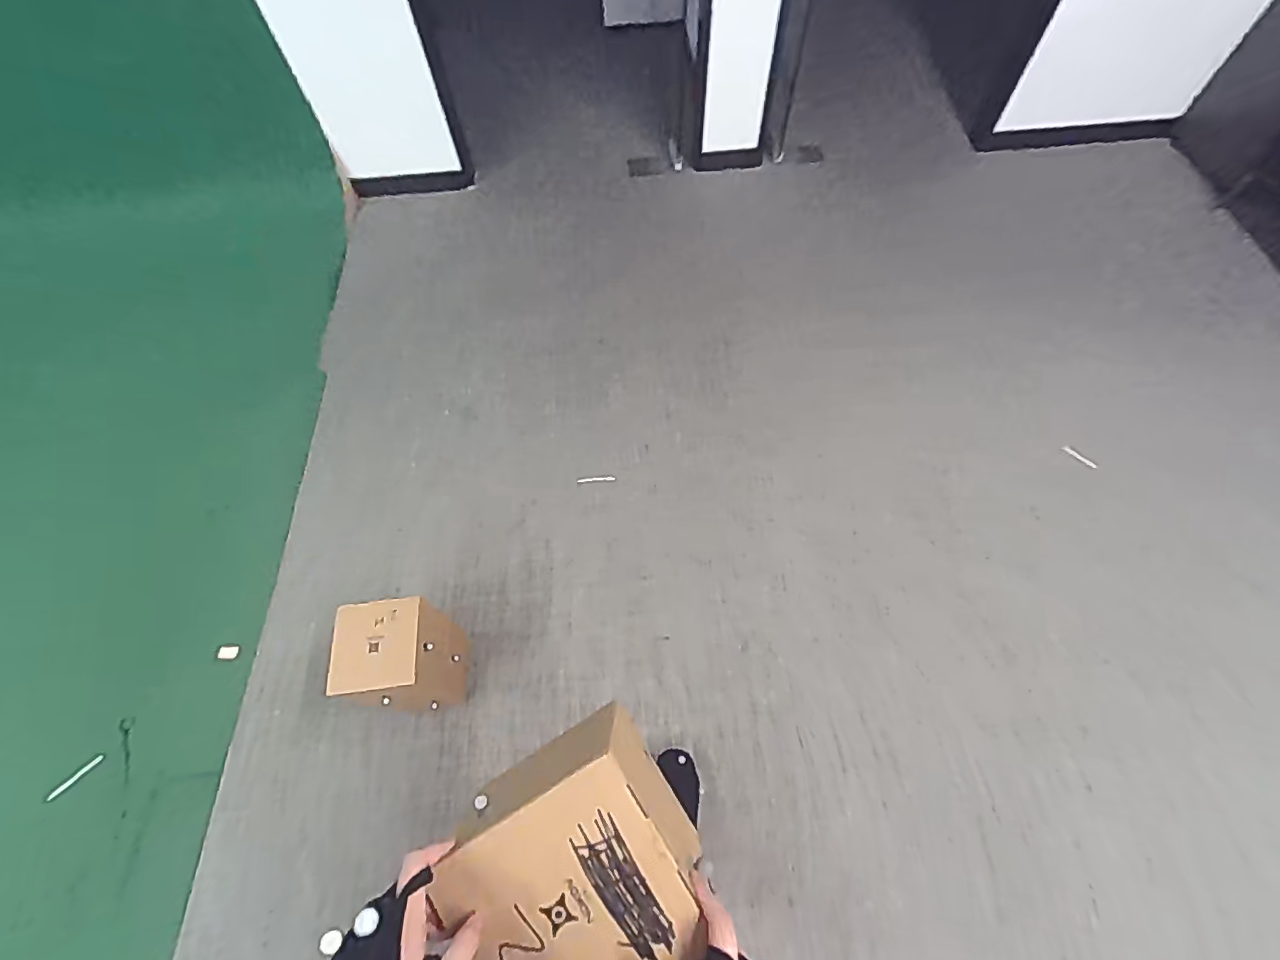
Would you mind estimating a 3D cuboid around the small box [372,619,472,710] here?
[{"bbox_3d":[-0.507,0.442,1.279,0.168,0.176,0.179,-5,61,-1],"label":"small box"}]

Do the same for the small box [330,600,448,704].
[{"bbox_3d":[-0.513,0.366,1.133,0.168,0.176,0.179,-6,61,-3],"label":"small box"}]
